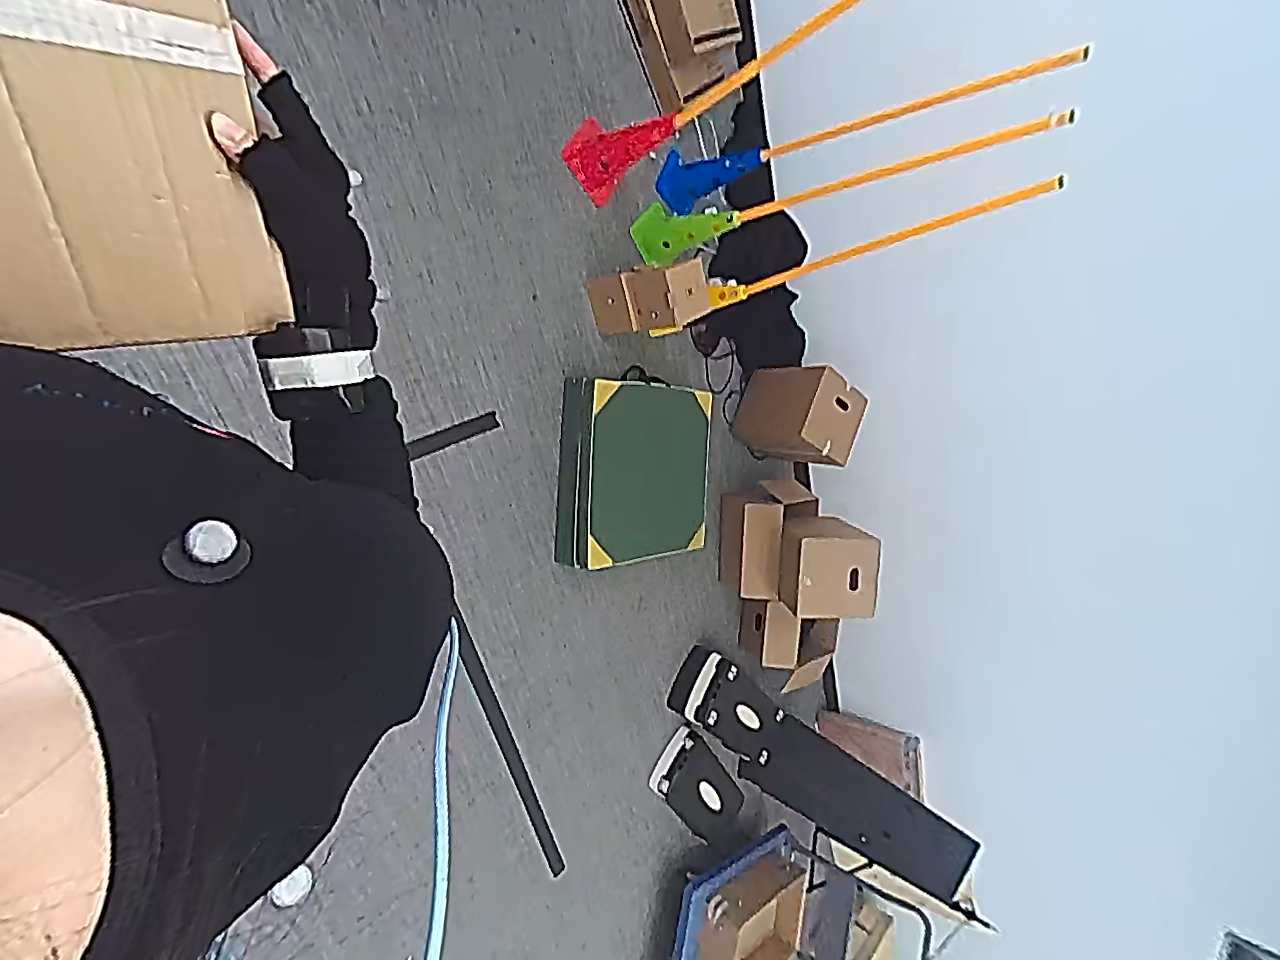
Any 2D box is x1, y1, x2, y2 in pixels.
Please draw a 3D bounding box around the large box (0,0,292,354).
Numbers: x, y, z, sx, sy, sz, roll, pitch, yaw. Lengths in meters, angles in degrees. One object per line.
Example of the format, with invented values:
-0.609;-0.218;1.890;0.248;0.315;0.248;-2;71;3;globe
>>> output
-0.488;-0.248;0.292;0.408;0.320;0.320;-20;128;-38;large box
